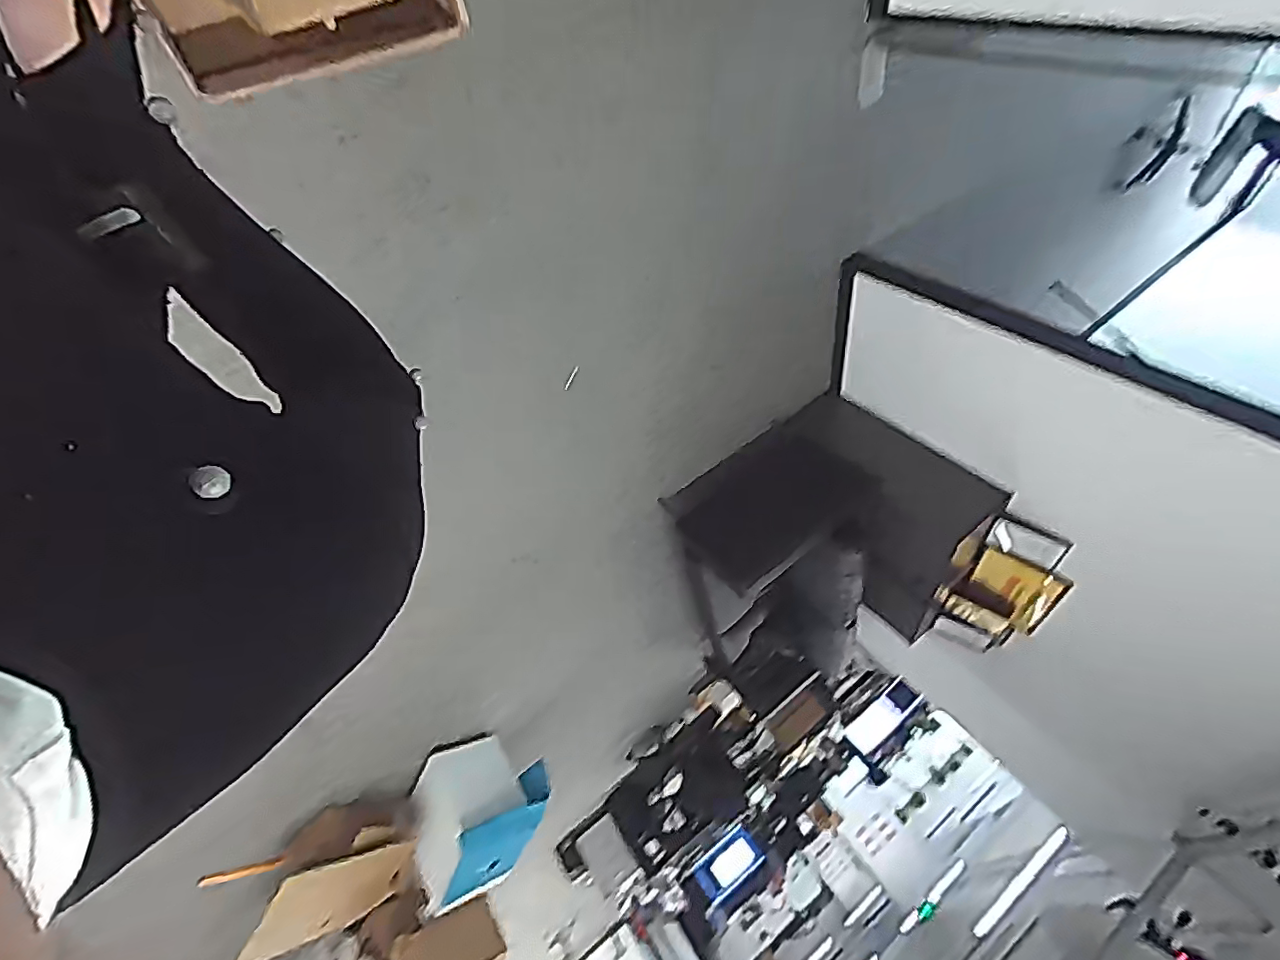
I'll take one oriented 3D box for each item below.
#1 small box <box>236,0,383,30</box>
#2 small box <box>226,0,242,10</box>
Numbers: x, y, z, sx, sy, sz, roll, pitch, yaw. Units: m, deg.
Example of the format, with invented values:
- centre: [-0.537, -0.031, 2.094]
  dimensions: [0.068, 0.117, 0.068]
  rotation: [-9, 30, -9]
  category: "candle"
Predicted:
- centre: [-0.387, -0.619, 0.588]
  dimensions: [0.179, 0.176, 0.168]
  rotation: [-33, 142, -16]
  category: "small box"
- centre: [-0.476, -0.720, 0.682]
  dimensions: [0.179, 0.176, 0.168]
  rotation: [-30, 141, -19]
  category: "small box"
